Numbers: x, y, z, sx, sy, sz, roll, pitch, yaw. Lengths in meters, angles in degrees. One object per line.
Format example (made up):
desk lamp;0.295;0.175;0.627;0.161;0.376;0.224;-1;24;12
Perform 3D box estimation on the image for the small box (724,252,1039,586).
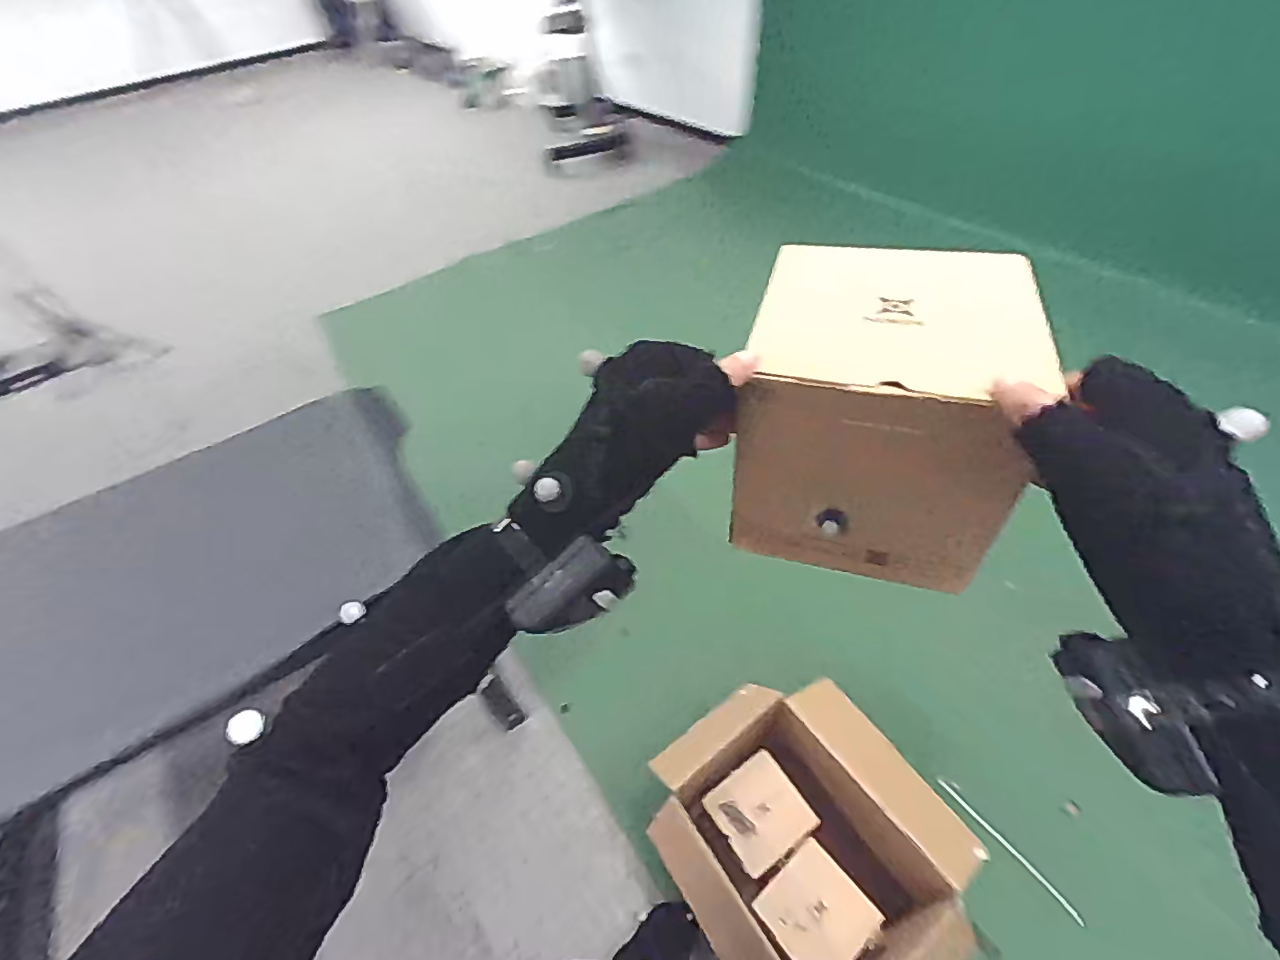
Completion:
small box;0.160;-0.050;0.410;0.168;0.176;0.179;10;48;15
